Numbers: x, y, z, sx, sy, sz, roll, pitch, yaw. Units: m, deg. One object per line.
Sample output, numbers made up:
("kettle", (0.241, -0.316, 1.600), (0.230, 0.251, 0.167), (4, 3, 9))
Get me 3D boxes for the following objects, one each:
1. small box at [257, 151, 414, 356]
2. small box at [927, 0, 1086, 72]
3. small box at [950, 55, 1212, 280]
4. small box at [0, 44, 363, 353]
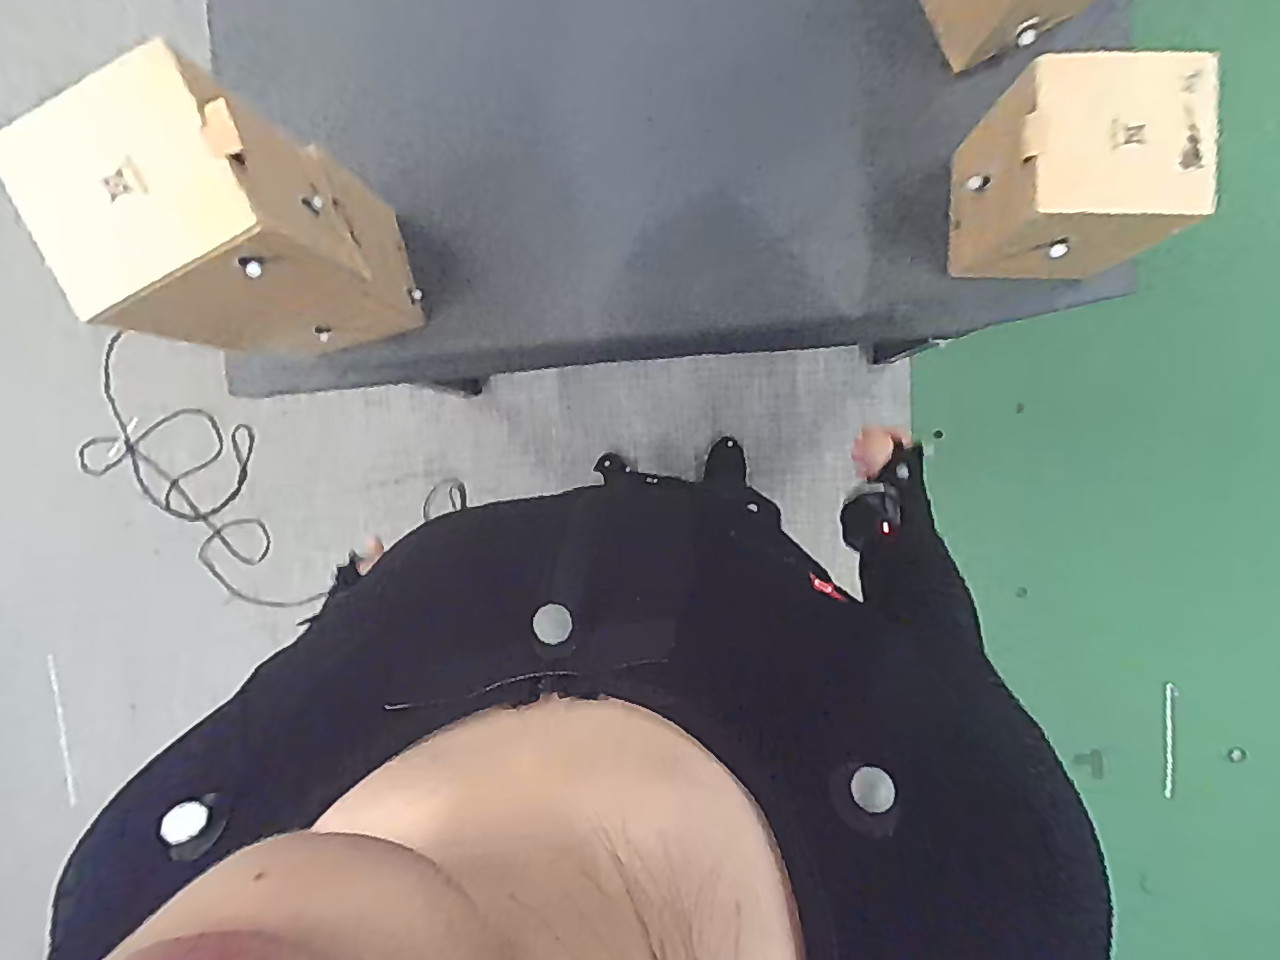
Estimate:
("small box", (-0.407, -0.265, 0.675), (0.179, 0.176, 0.168), (-15, 93, 4))
("small box", (0.437, -0.627, 0.610), (0.168, 0.176, 0.179), (-26, 94, 7))
("small box", (0.484, -0.342, 0.621), (0.179, 0.176, 0.168), (2, 90, 4))
("small box", (-0.412, -0.239, 0.514), (0.179, 0.176, 0.168), (-27, 93, 4))
